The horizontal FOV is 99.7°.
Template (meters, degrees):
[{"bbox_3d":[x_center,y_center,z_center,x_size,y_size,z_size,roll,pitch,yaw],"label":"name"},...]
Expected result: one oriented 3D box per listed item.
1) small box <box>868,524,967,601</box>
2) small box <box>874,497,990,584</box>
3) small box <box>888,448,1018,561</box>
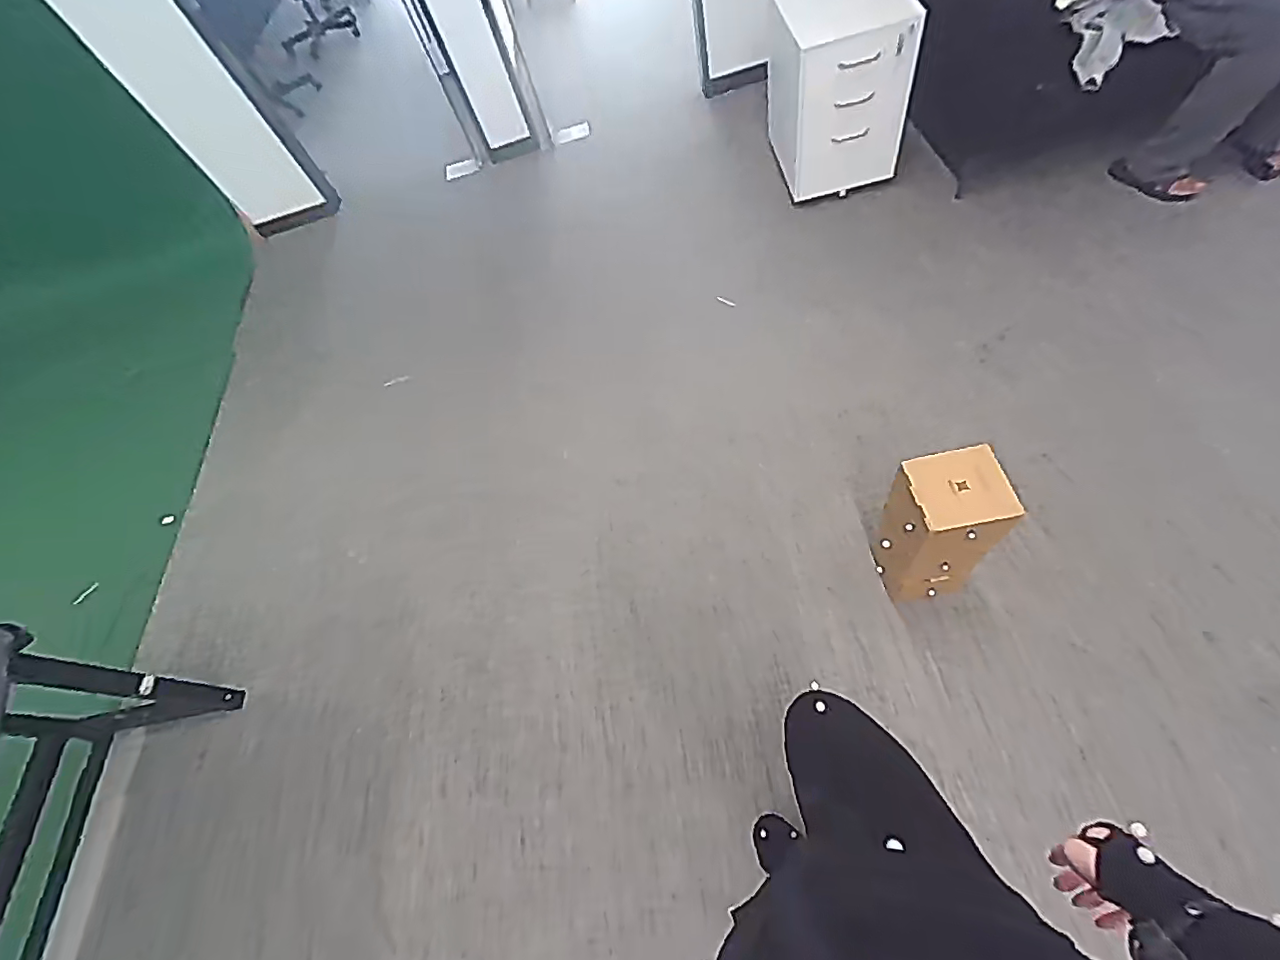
[{"bbox_3d":[0.722,0.210,1.429,0.168,0.176,0.179,-12,59,6],"label":"small box"},{"bbox_3d":[0.683,0.132,1.289,0.179,0.176,0.168,-13,58,6],"label":"small box"},{"bbox_3d":[0.646,0.058,1.150,0.179,0.176,0.168,-12,60,5],"label":"small box"}]
